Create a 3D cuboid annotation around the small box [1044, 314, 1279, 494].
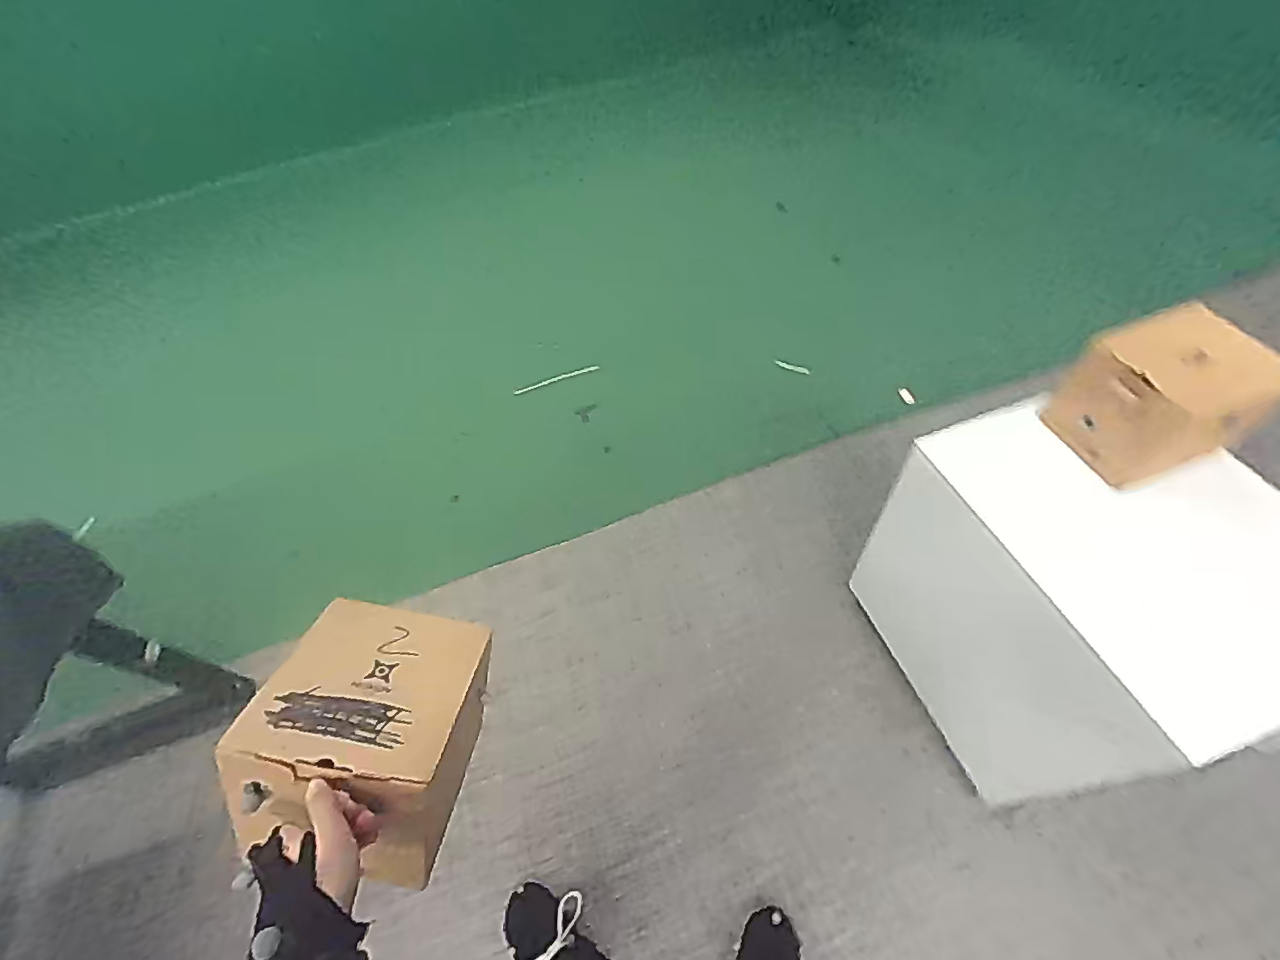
[{"bbox_3d":[0.756,-0.106,0.792,0.179,0.176,0.168,-19,55,-5],"label":"small box"}]
